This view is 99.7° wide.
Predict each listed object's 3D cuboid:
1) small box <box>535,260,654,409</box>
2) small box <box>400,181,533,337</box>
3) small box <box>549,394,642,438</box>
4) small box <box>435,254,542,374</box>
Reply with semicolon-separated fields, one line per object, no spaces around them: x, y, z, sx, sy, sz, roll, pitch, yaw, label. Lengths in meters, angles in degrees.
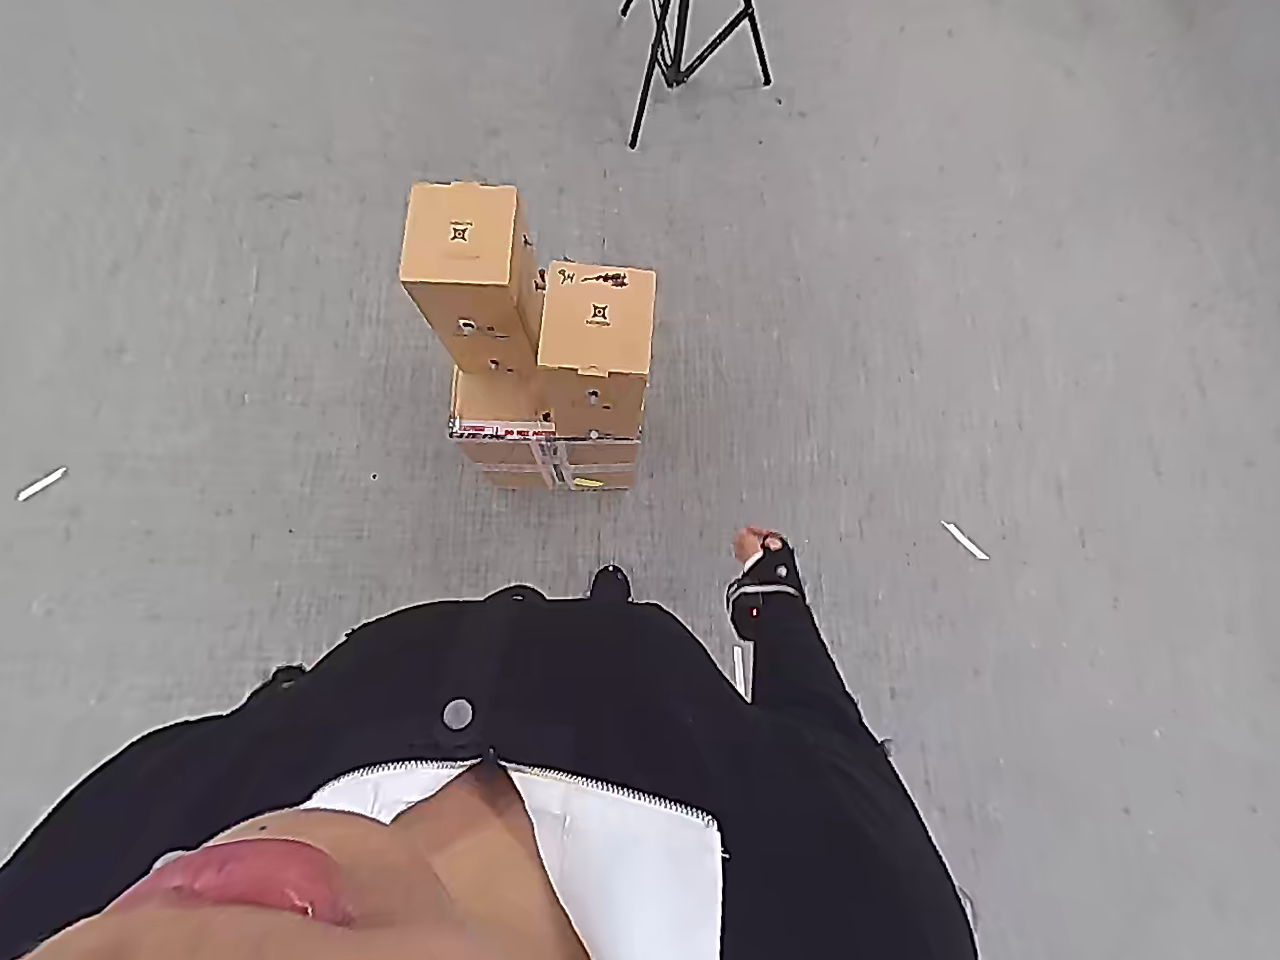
-0.071;-0.226;0.884;0.168;0.176;0.179;5;78;-3;small box
-0.276;-0.360;0.900;0.168;0.176;0.179;1;78;-1;small box
-0.083;-0.192;1.043;0.168;0.176;0.179;2;78;-4;small box
-0.286;-0.325;1.059;0.168;0.176;0.179;2;78;-2;small box
